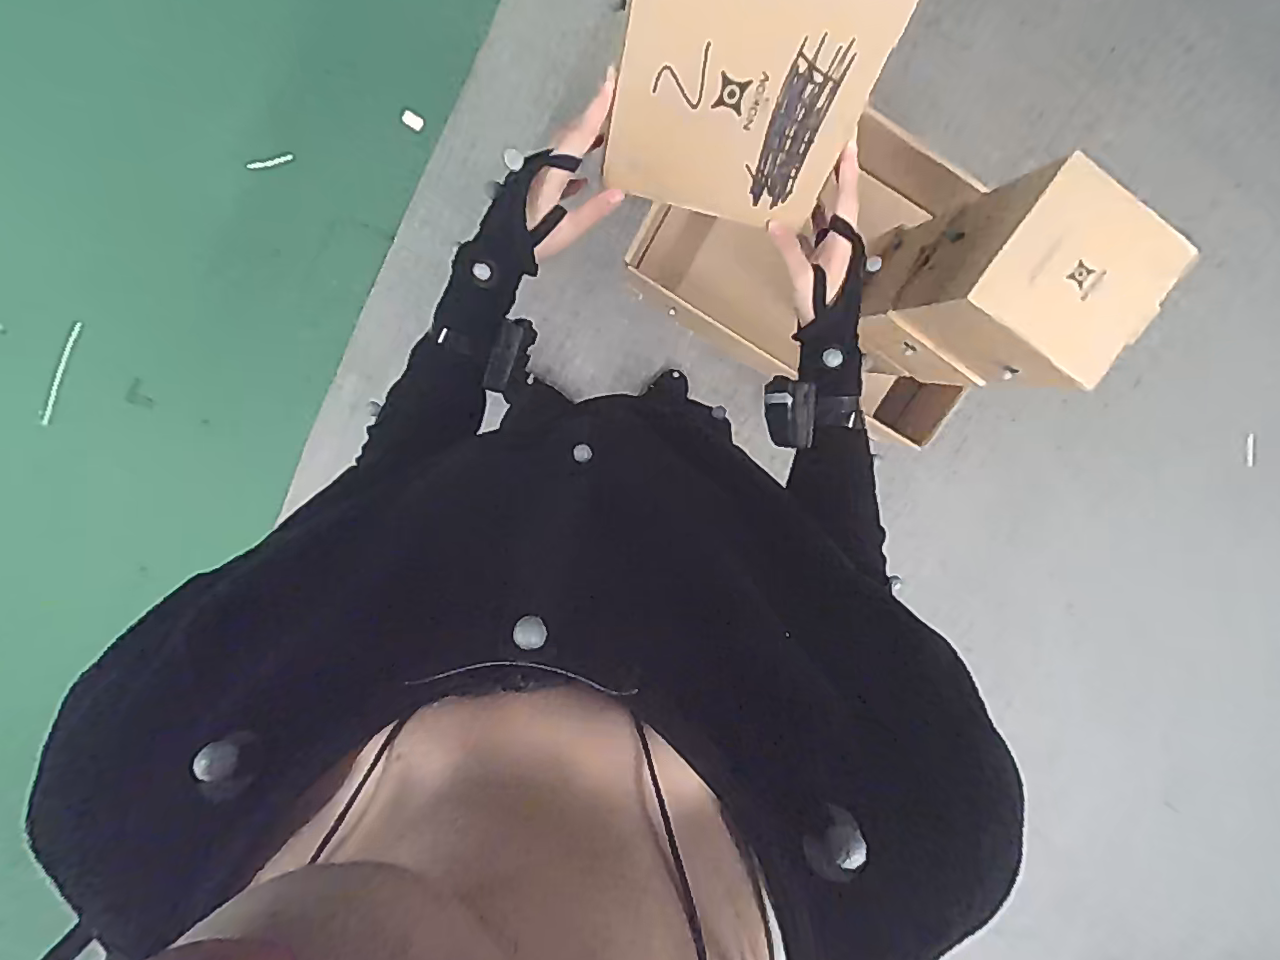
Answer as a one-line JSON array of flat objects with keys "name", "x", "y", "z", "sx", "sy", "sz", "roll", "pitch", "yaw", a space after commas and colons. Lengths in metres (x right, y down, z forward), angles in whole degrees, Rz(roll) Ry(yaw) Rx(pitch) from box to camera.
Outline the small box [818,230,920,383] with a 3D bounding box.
[{"name": "small box", "x": 0.430, "y": -0.286, "z": 0.928, "sx": 0.168, "sy": 0.176, "sz": 0.179, "roll": 35, "pitch": 100, "yaw": -6}]

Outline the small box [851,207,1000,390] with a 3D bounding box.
[{"name": "small box", "x": 0.438, "y": -0.243, "z": 0.769, "sx": 0.179, "sy": 0.176, "sz": 0.168, "roll": 33, "pitch": 100, "yaw": -6}]

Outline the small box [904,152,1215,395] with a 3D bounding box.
[{"name": "small box", "x": 0.446, "y": -0.215, "z": 0.608, "sx": 0.179, "sy": 0.176, "sz": 0.168, "roll": 33, "pitch": 100, "yaw": -6}]
